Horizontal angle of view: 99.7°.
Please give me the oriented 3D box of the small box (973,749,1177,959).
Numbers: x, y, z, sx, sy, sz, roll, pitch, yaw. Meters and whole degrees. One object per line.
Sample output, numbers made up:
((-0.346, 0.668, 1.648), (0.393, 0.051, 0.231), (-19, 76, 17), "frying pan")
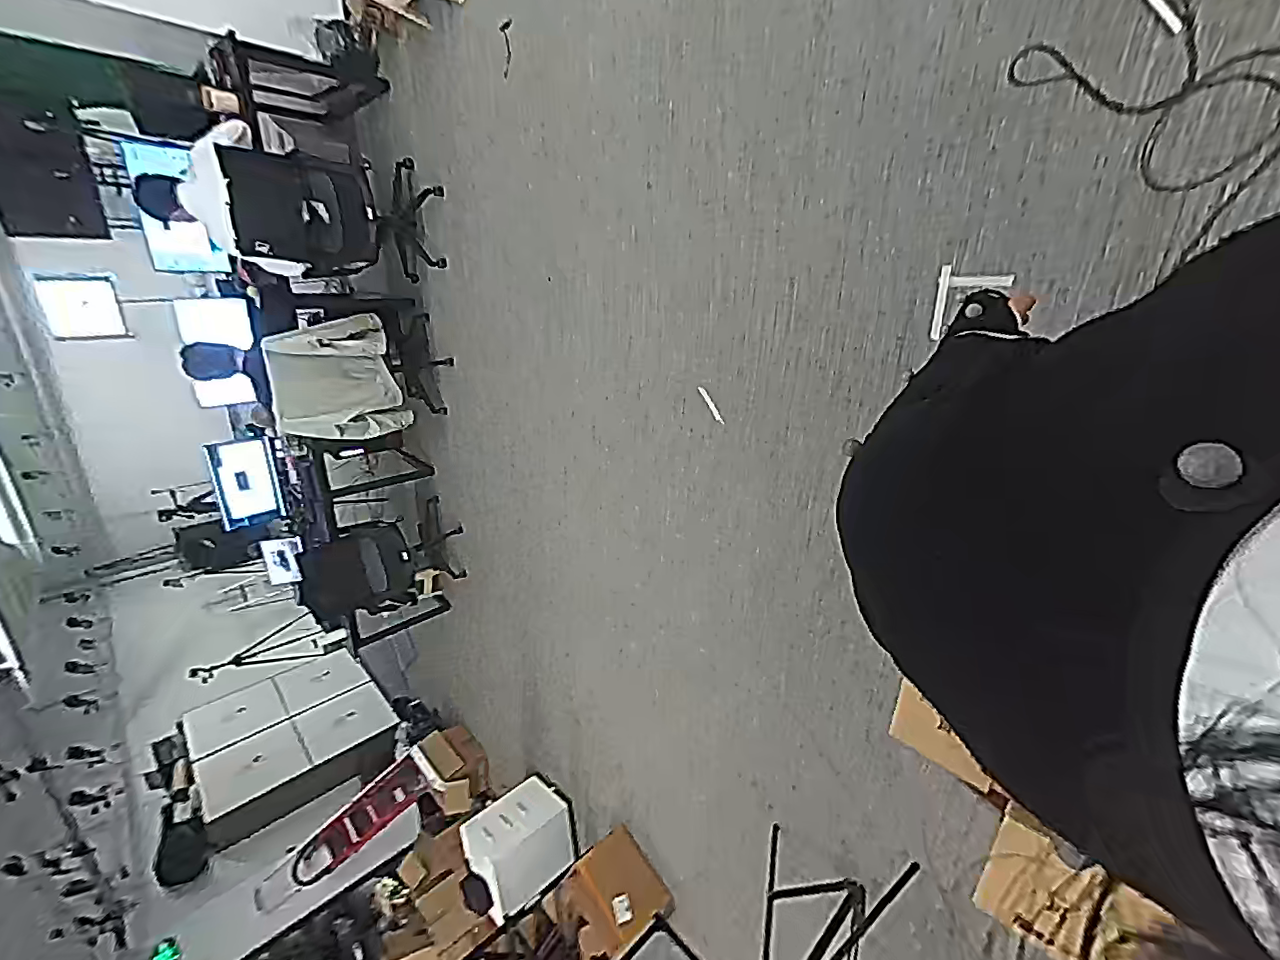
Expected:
((0.586, 0.512, 0.734), (0.168, 0.176, 0.179), (22, 116, 41), "small box")

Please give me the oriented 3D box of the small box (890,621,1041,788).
((0.574, 0.384, 0.955), (0.168, 0.176, 0.179), (23, 119, 43), "small box")
